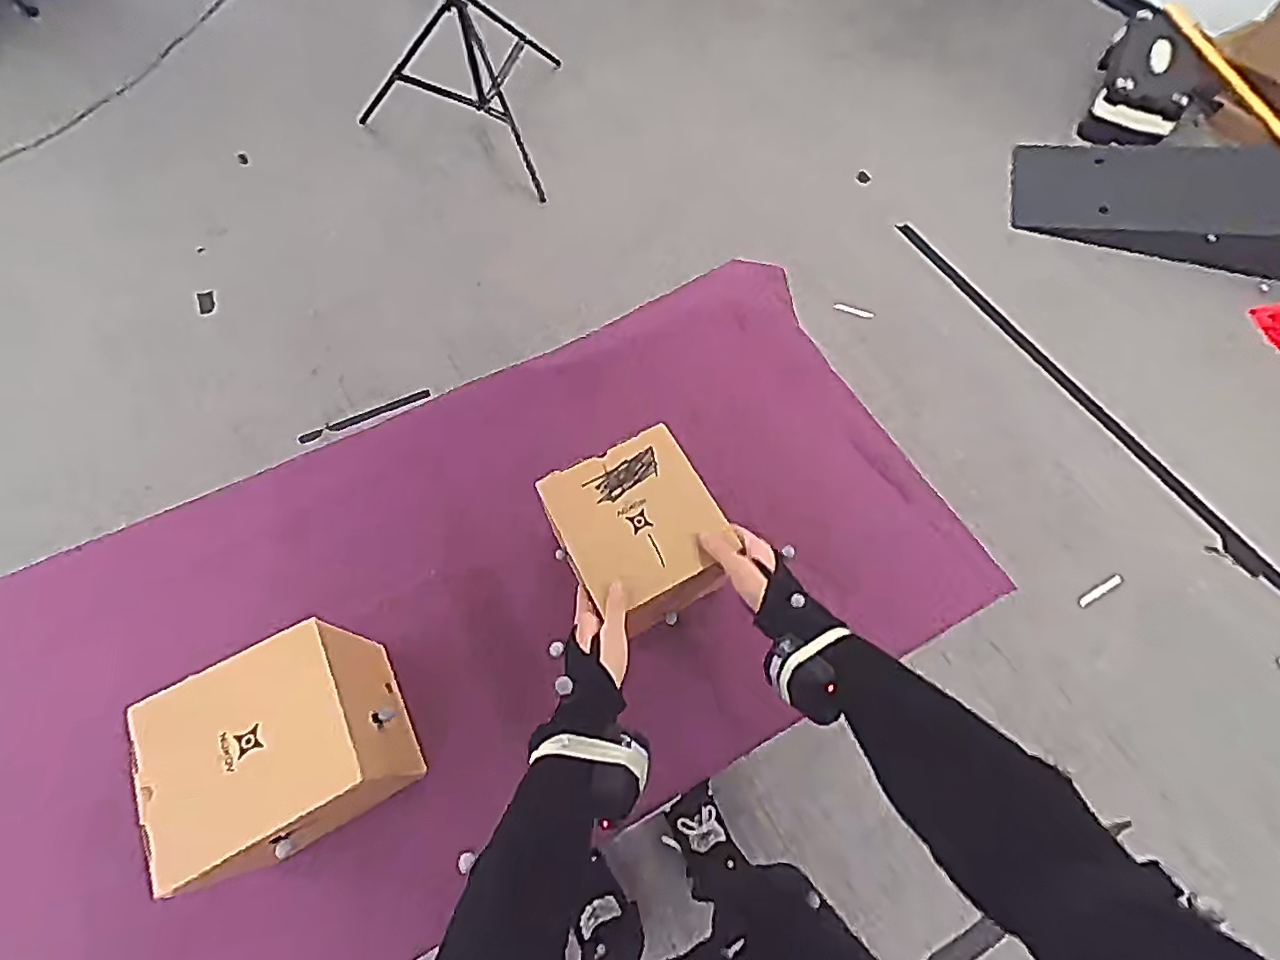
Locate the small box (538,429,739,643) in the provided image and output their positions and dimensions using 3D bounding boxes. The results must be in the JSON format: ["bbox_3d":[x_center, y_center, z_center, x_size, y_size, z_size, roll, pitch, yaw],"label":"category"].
[{"bbox_3d":[-0.007,0.075,0.655,0.168,0.176,0.179,-26,69,-12],"label":"small box"}]

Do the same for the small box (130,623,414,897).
[{"bbox_3d":[-0.357,0.274,0.560,0.179,0.176,0.168,-27,67,-12],"label":"small box"}]
